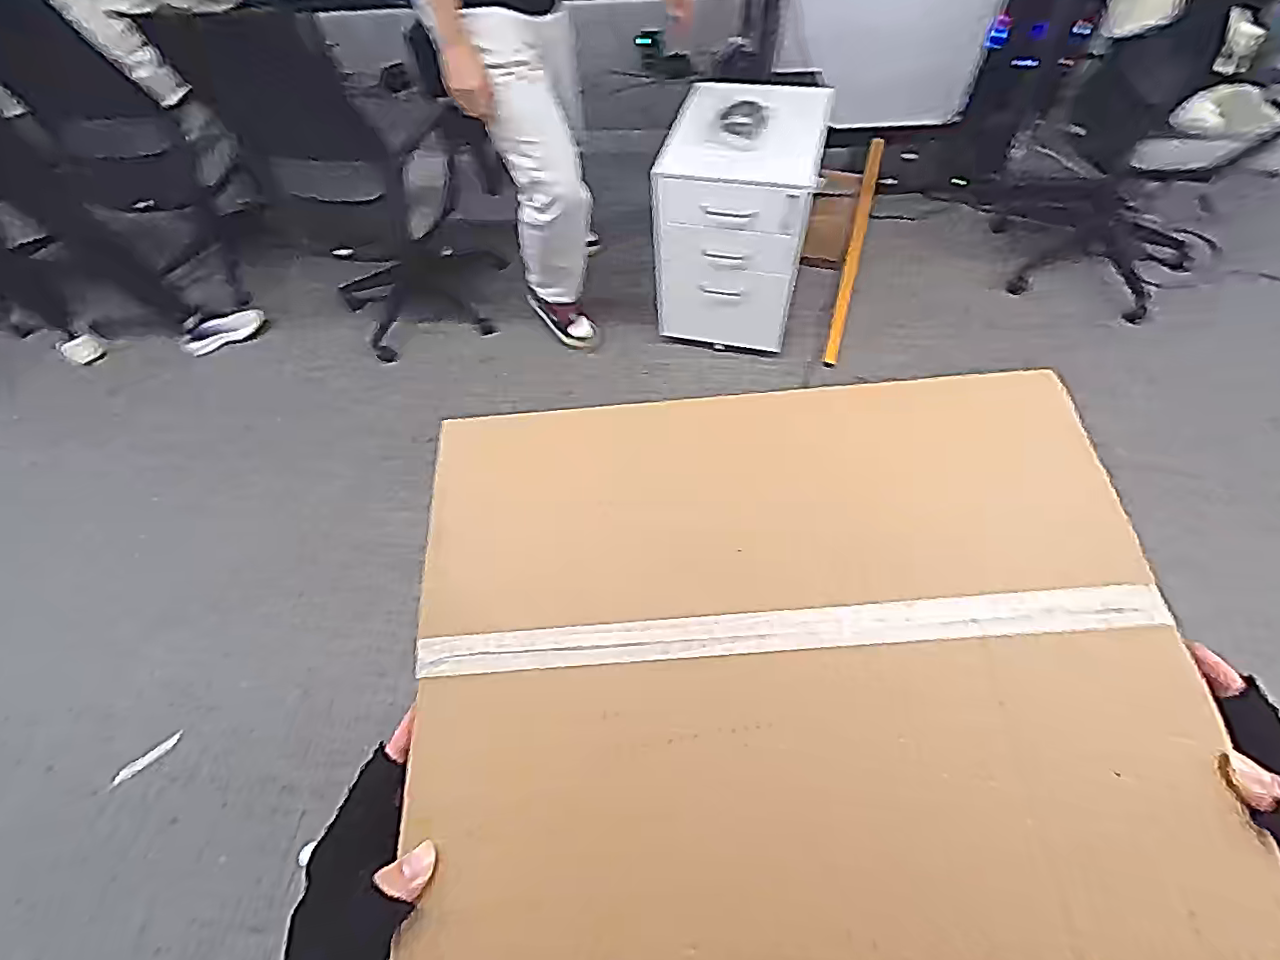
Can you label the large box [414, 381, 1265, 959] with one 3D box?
[{"bbox_3d":[0.085,0.152,0.446,0.408,0.320,0.320,-5,66,2],"label":"large box"}]
